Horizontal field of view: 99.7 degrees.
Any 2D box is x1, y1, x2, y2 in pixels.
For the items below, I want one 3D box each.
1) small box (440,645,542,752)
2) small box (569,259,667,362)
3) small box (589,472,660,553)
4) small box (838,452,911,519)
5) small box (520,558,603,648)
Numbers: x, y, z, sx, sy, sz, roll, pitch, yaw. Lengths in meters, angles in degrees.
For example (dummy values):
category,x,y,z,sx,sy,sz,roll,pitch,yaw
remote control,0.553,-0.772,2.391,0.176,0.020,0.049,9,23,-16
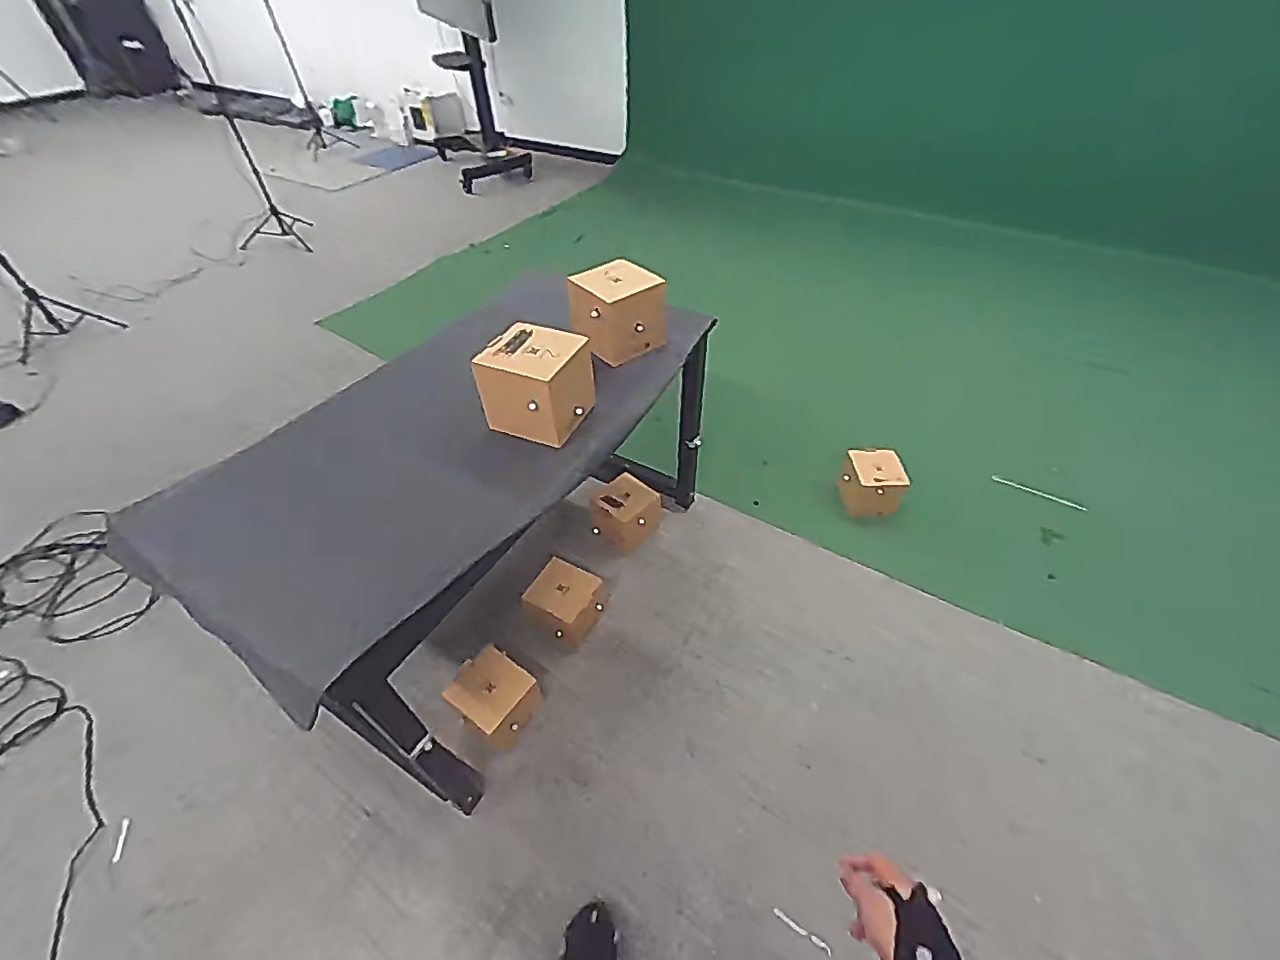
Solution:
category,x,y,z,sx,sy,sz,roll,pitch,yaw
small box,-0.375,0.569,1.393,0.179,0.176,0.168,27,52,24
small box,-0.049,-0.405,1.307,0.168,0.176,0.179,-29,50,-25
small box,-0.049,0.113,1.824,0.168,0.176,0.179,35,54,28
small box,0.820,0.019,1.911,0.168,0.176,0.179,-1,45,0
small box,-0.220,0.366,1.584,0.179,0.176,0.168,21,49,20
